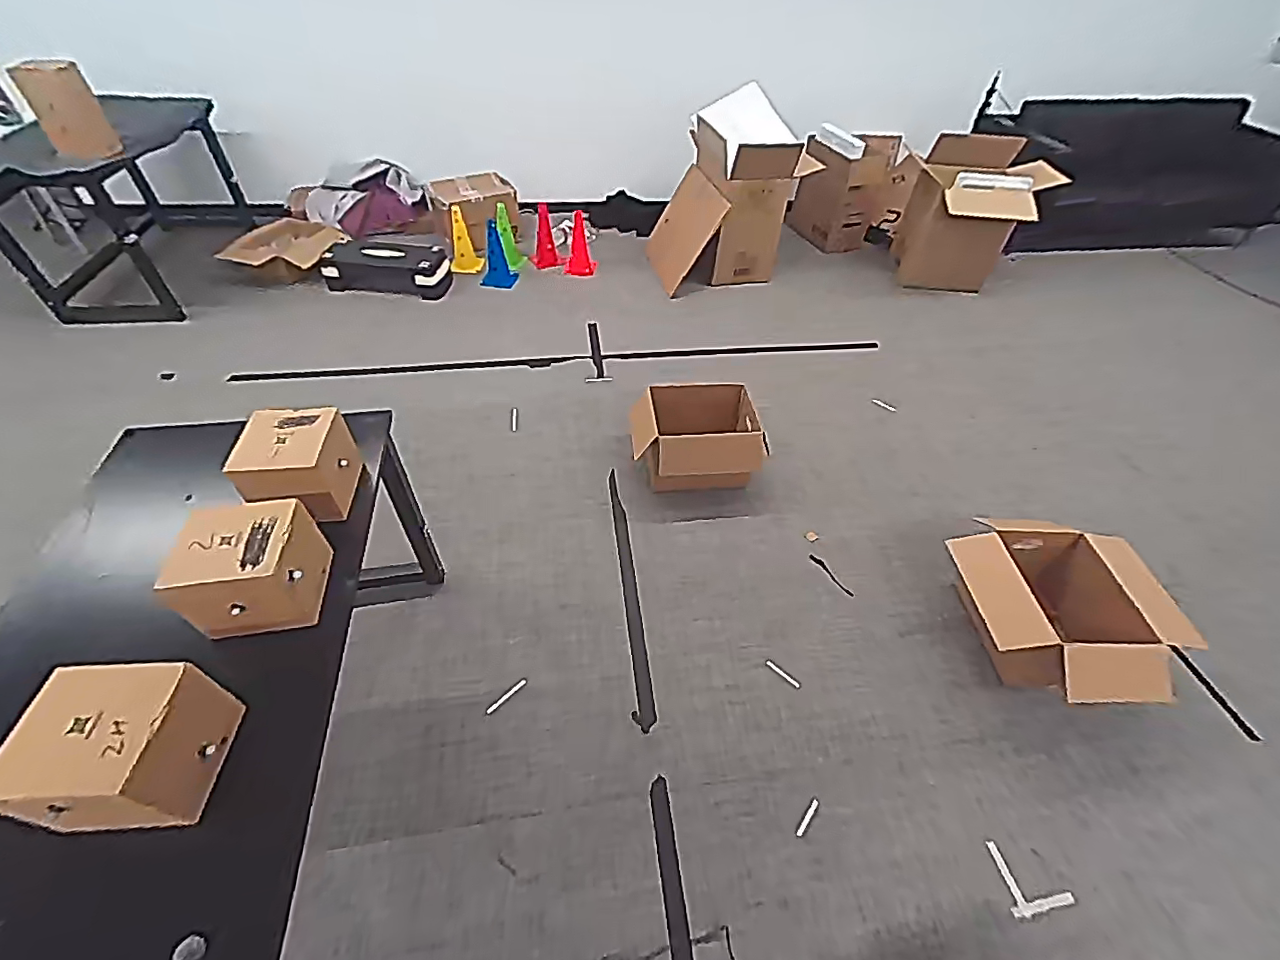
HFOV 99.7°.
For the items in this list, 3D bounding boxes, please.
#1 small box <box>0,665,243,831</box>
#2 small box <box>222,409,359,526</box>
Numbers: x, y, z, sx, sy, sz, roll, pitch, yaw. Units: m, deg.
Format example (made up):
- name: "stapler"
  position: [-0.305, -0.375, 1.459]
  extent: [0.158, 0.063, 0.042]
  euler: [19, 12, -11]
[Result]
- name: "small box"
  position: [-0.710, 0.373, 0.749]
  extent: [0.179, 0.176, 0.168]
  euler: [-1, 48, -4]
- name: "small box"
  position: [-0.706, -0.025, 1.119]
  extent: [0.168, 0.176, 0.179]
  euler: [-4, 49, -6]
